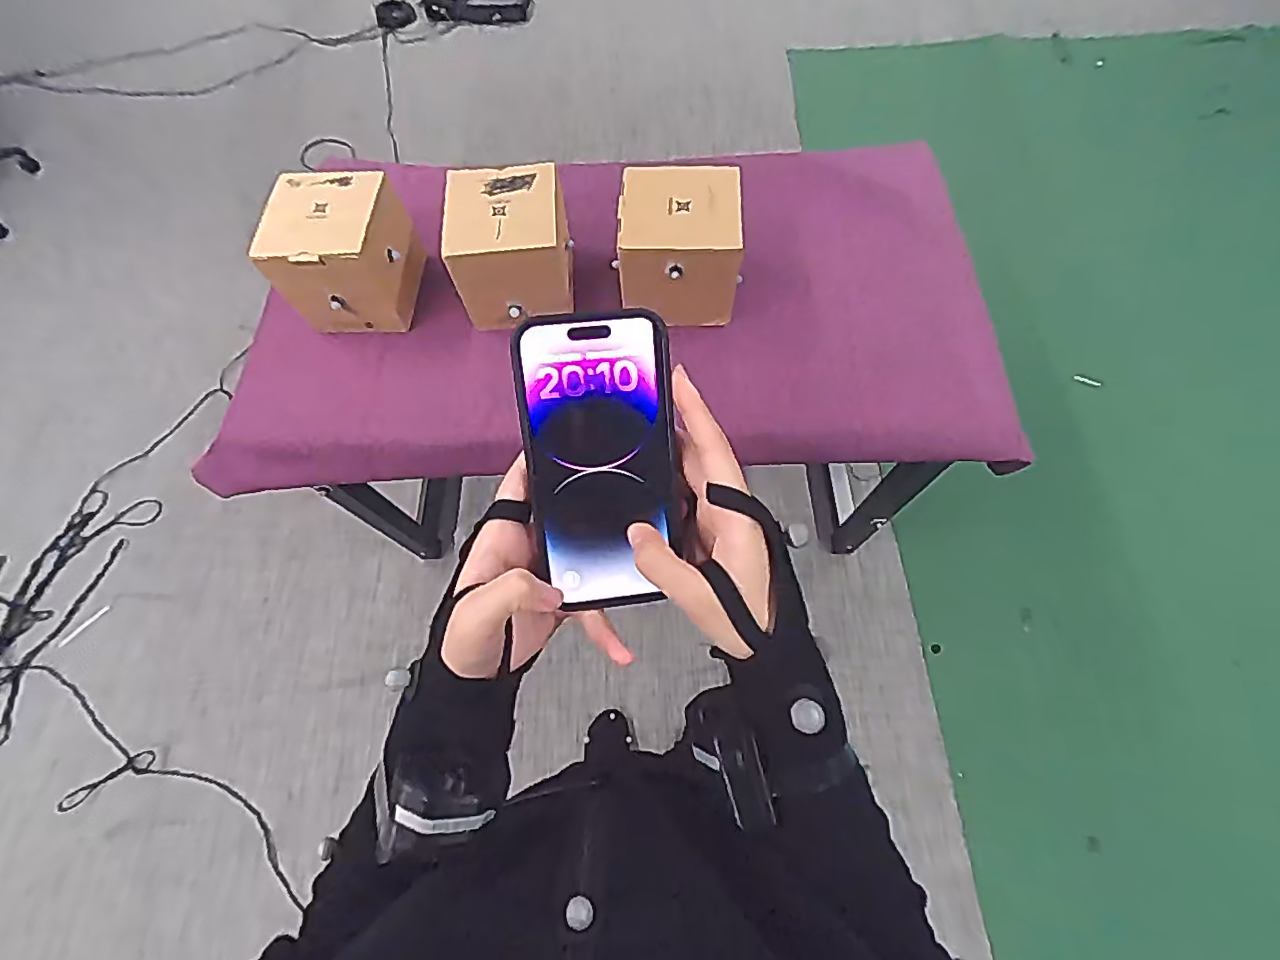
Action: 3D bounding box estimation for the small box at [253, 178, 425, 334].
[{"bbox_3d":[-0.470,-0.353,0.876,0.168,0.176,0.179,0,66,2],"label":"small box"}]

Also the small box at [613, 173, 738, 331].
[{"bbox_3d":[0.058,-0.354,0.856,0.179,0.176,0.168,2,66,3],"label":"small box"}]

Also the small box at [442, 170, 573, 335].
[{"bbox_3d":[-0.202,-0.358,0.868,0.168,0.176,0.179,-5,66,0],"label":"small box"}]
